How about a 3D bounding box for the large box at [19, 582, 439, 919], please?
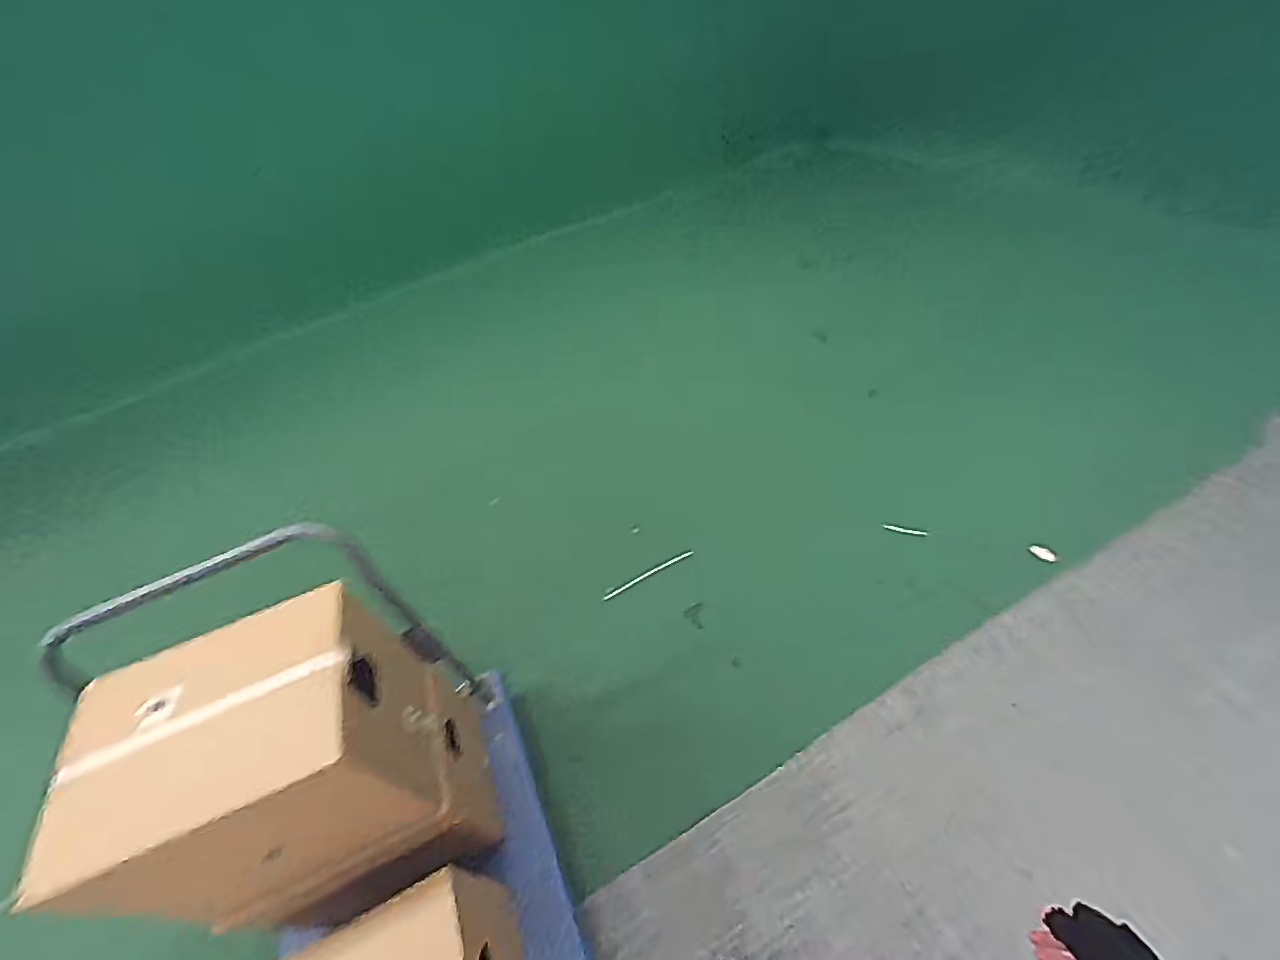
[{"bbox_3d":[-0.606,0.442,0.889,0.408,0.320,0.320,-24,48,-8],"label":"large box"}]
